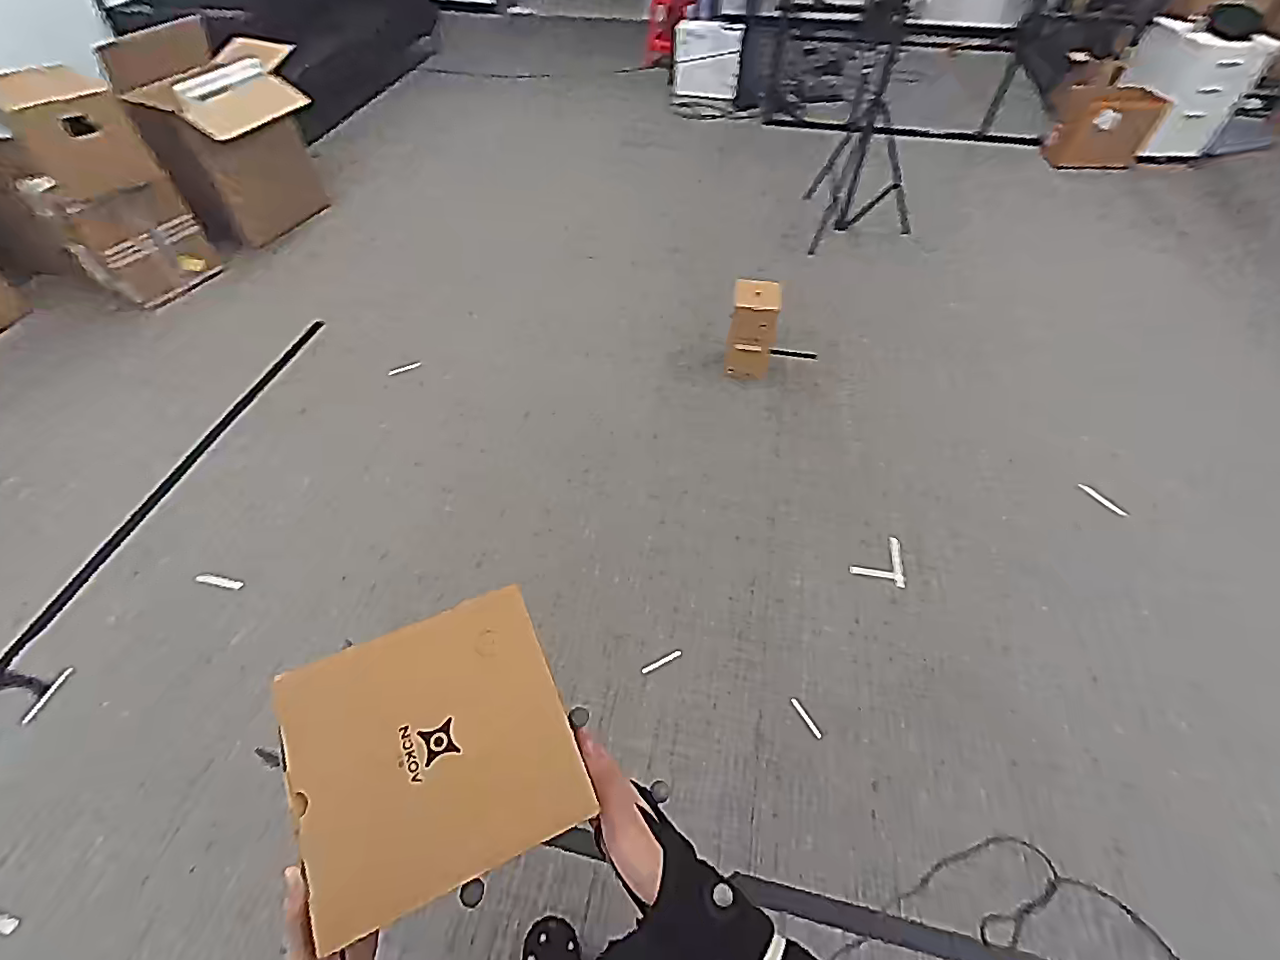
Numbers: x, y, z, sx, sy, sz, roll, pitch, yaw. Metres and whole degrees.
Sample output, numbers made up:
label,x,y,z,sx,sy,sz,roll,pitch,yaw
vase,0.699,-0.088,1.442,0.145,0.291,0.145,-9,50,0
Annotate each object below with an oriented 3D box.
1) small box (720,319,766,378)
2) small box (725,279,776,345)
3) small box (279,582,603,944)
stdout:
label,x,y,z,sx,sy,sz,roll,pitch,yaw
small box,0.416,-0.533,2.176,0.168,0.176,0.179,8,52,6
small box,0.417,-0.632,2.047,0.168,0.176,0.179,7,52,5
small box,-0.141,0.203,0.429,0.179,0.176,0.168,-20,69,-13
